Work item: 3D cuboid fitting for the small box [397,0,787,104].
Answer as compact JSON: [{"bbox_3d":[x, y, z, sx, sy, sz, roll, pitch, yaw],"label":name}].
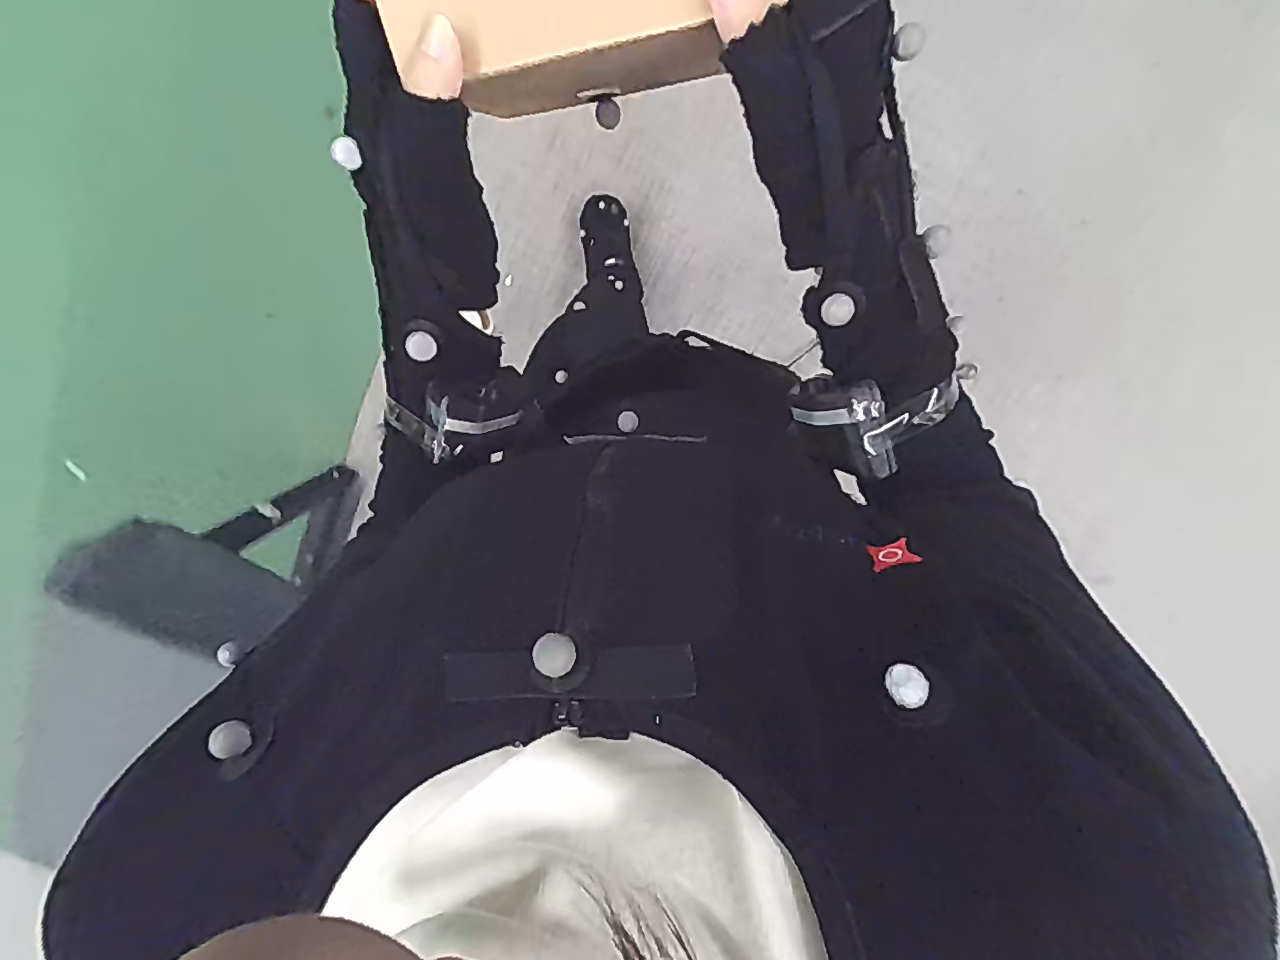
[{"bbox_3d":[-0.024,-0.302,0.254,0.168,0.176,0.179,-5,120,9],"label":"small box"}]
